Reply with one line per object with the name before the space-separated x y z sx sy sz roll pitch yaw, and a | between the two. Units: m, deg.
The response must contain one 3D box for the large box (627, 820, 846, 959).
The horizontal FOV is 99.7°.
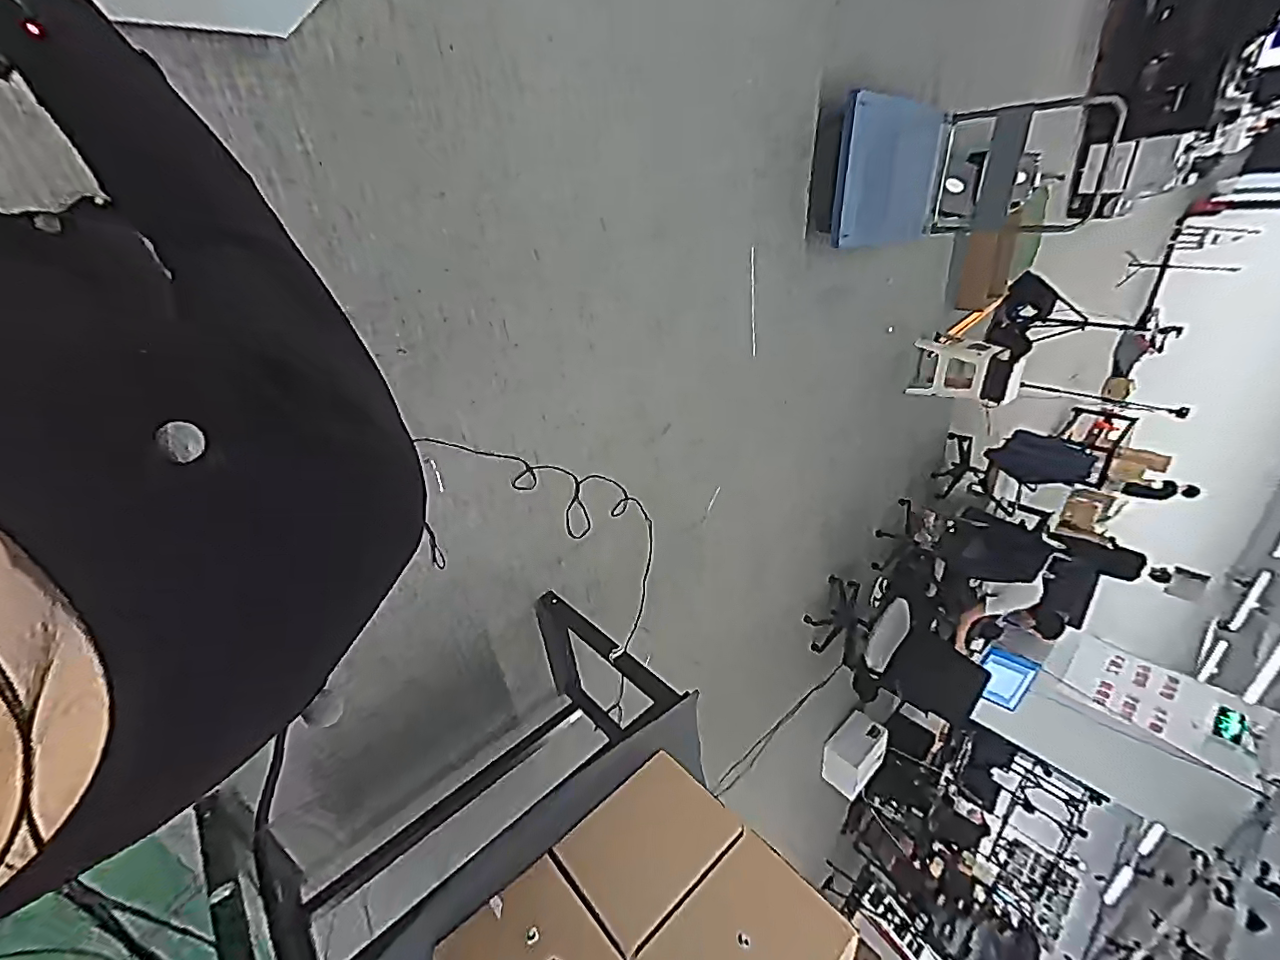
large box | 0.224 1.131 1.267 0.408 0.320 0.320 -26 127 -35
